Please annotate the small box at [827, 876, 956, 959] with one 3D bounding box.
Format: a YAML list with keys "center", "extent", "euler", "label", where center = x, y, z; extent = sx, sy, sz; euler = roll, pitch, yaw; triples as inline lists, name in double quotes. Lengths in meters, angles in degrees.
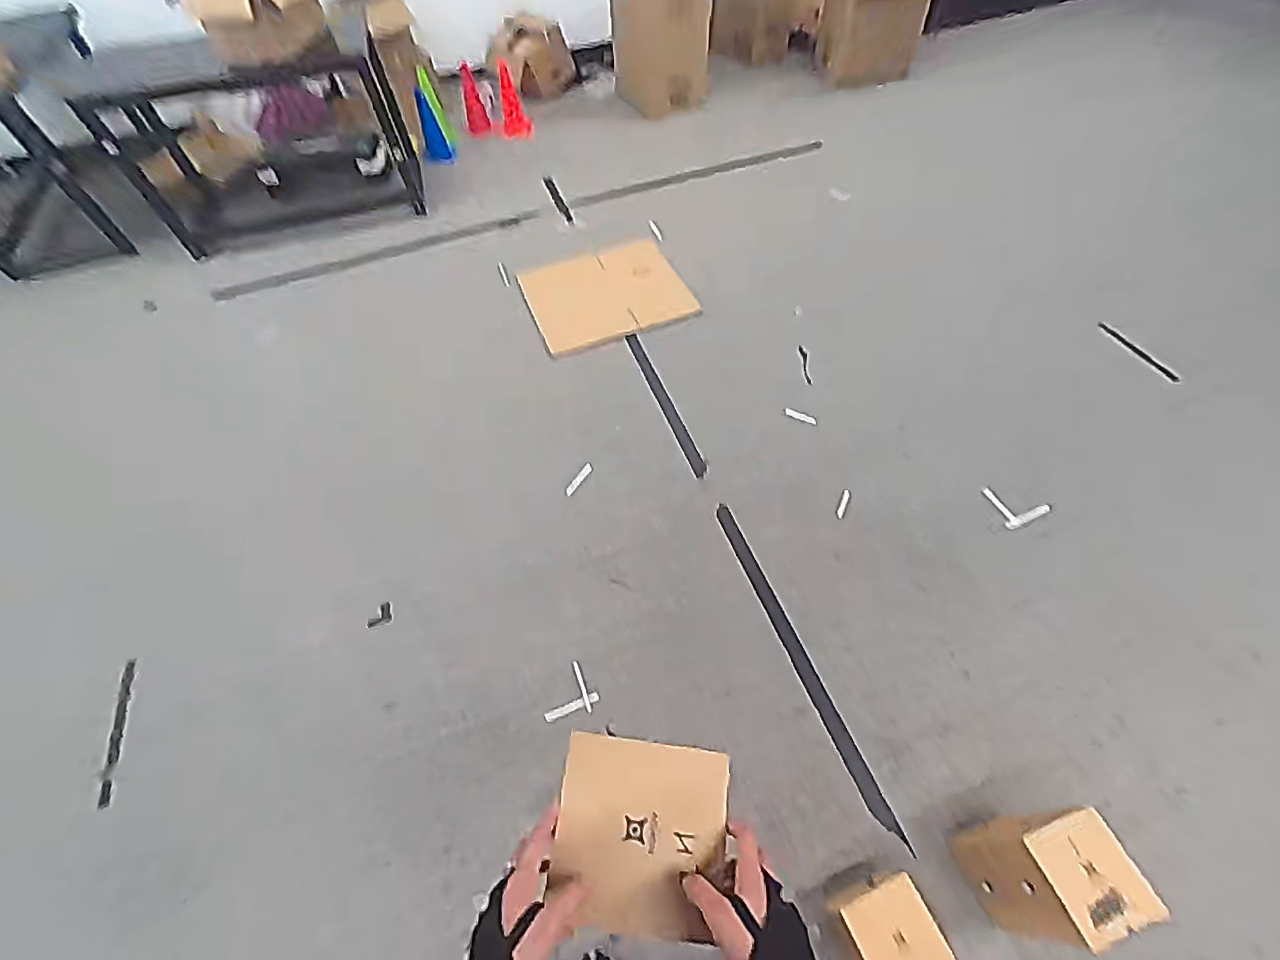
- center: [0.516, 0.957, 1.121]
  extent: [0.168, 0.176, 0.179]
  euler: [-21, 57, -11]
  label: "small box"

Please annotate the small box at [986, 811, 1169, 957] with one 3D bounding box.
- center: [0.820, 0.763, 1.037]
  extent: [0.168, 0.176, 0.179]
  euler: [-17, 55, -9]
  label: "small box"

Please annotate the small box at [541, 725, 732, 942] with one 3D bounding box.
- center: [-0.006, 0.384, 0.609]
  extent: [0.179, 0.176, 0.168]
  euler: [10, 62, -3]
  label: "small box"
